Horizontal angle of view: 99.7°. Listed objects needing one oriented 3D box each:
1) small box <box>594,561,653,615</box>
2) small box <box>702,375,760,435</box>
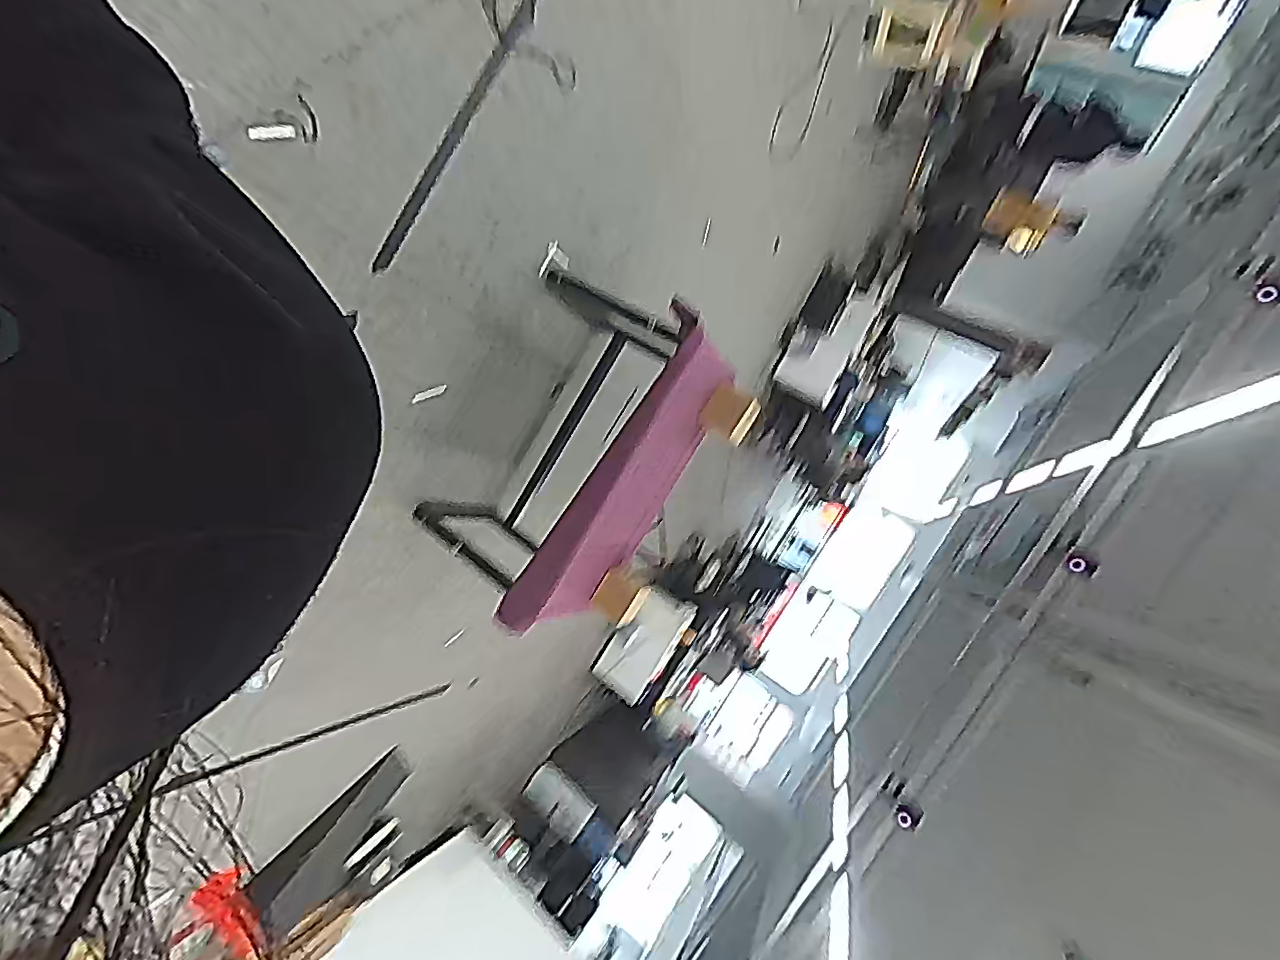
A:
[{"bbox_3d":[-0.075,0.473,2.403,0.179,0.176,0.168,-58,158,5],"label":"small box"},{"bbox_3d":[0.387,-0.320,2.303,0.179,0.176,0.168,-57,157,3],"label":"small box"}]
